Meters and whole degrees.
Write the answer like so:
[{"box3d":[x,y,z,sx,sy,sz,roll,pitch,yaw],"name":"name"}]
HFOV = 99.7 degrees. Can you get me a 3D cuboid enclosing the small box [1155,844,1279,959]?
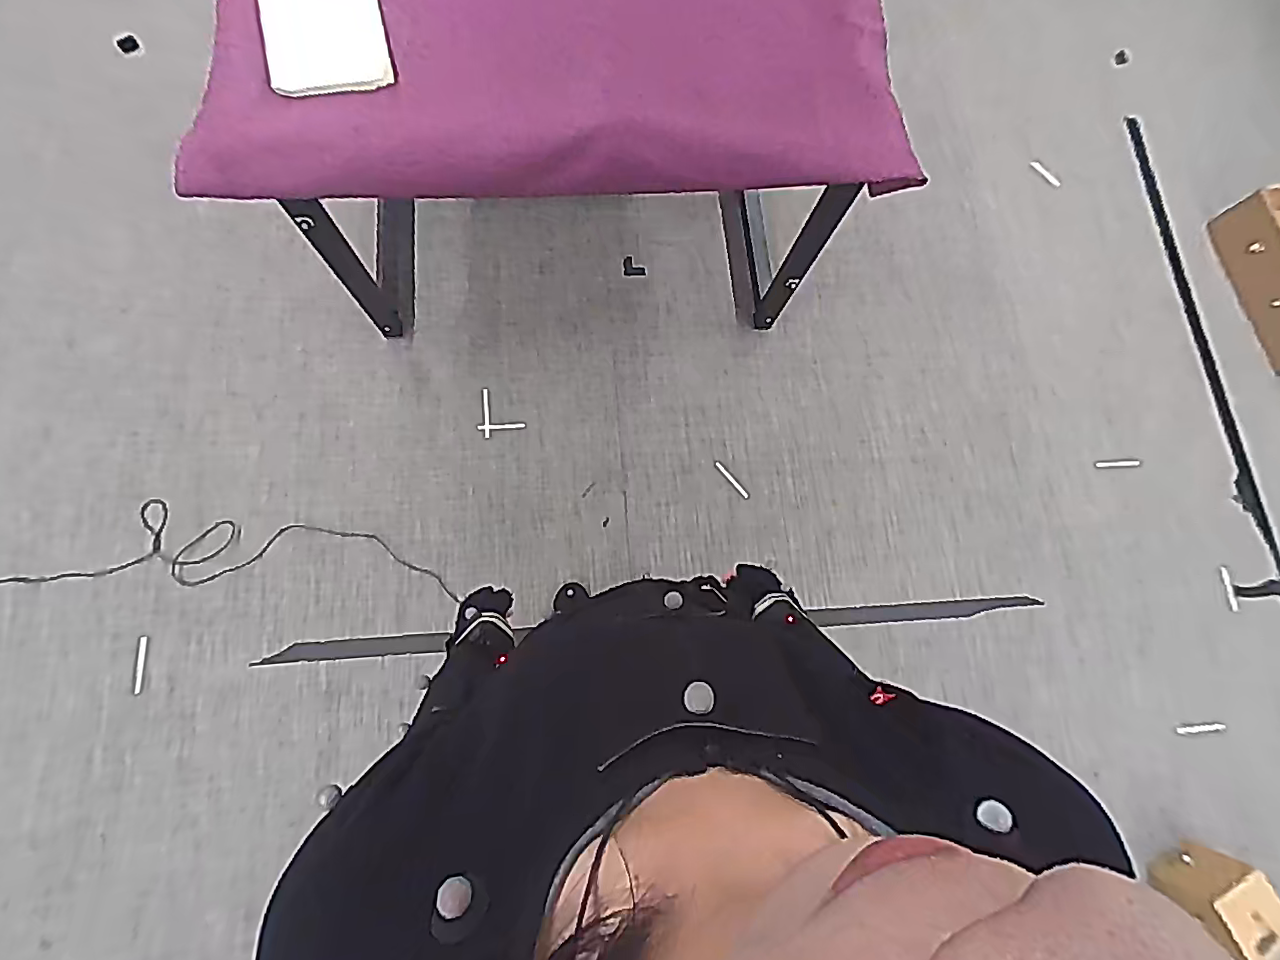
[{"box3d":[1.514,1.096,1.396,0.168,0.176,0.179,-25,80,-10],"name":"small box"}]
